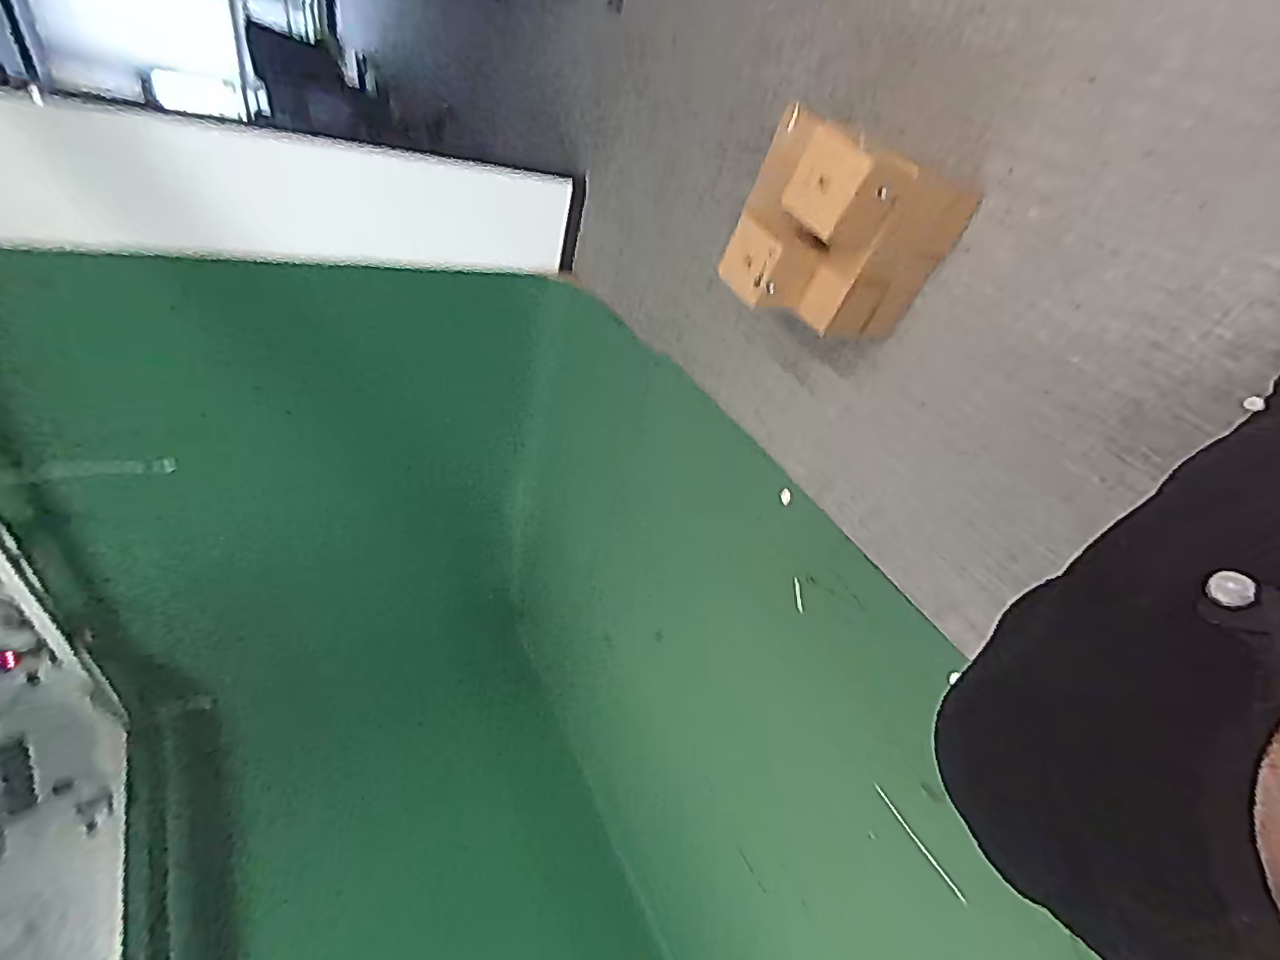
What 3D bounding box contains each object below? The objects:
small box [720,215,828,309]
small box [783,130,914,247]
[{"bbox_3d":[0.346,-0.558,1.407,0.179,0.176,0.168,59,143,31],"label":"small box"},{"bbox_3d":[0.463,-0.640,1.204,0.179,0.176,0.168,59,140,30],"label":"small box"}]
